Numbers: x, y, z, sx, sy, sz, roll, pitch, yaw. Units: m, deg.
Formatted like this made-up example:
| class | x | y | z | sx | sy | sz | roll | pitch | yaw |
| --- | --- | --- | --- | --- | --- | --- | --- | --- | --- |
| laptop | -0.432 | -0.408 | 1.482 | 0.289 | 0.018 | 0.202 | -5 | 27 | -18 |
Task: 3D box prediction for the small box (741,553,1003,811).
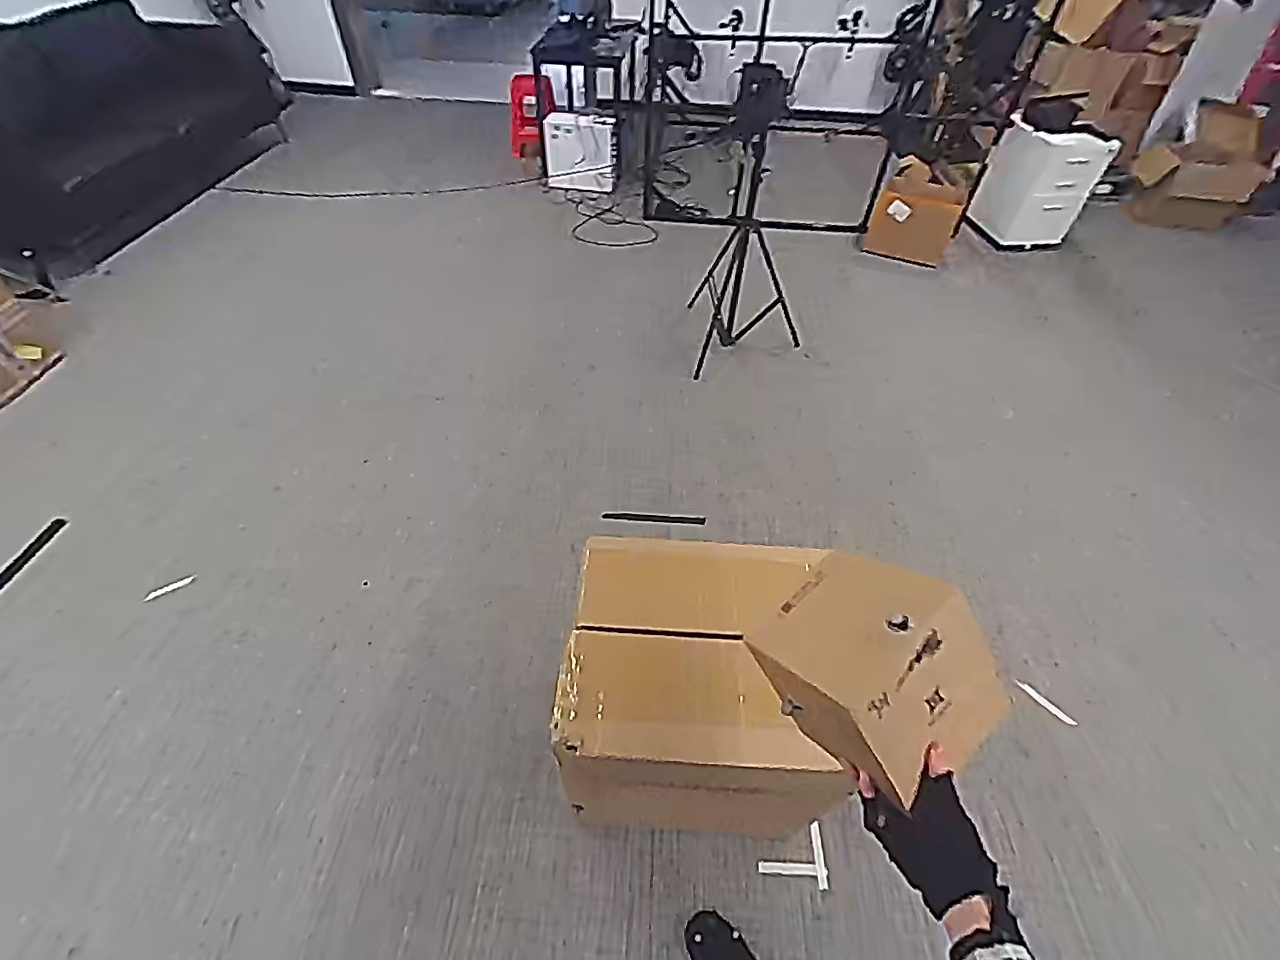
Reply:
| class | x | y | z | sx | sy | sz | roll | pitch | yaw |
| --- | --- | --- | --- | --- | --- | --- | --- | --- | --- |
| small box | 0.249 | 0.206 | 0.601 | 0.168 | 0.179 | 0.176 | -40 | 19 | -15 |
